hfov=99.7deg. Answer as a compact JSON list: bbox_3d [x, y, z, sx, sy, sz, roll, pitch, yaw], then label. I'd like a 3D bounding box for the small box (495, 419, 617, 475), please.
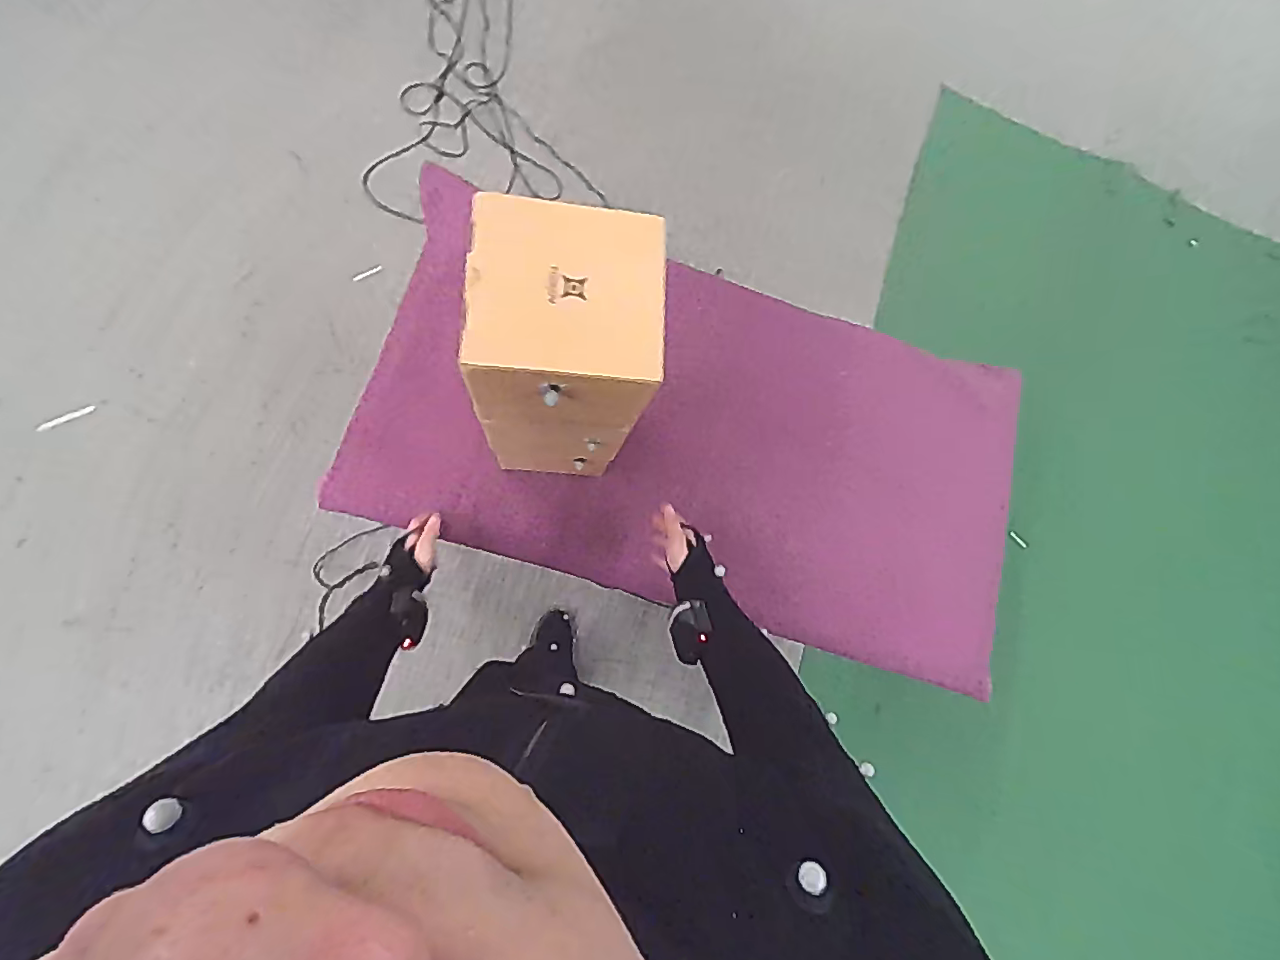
[{"bbox_3d":[-0.133,-0.106,0.875,0.179,0.176,0.168,4,78,-10],"label":"small box"}]

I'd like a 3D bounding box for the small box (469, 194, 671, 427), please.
[{"bbox_3d":[-0.072,-0.156,0.558,0.179,0.176,0.168,2,80,-10],"label":"small box"}]
